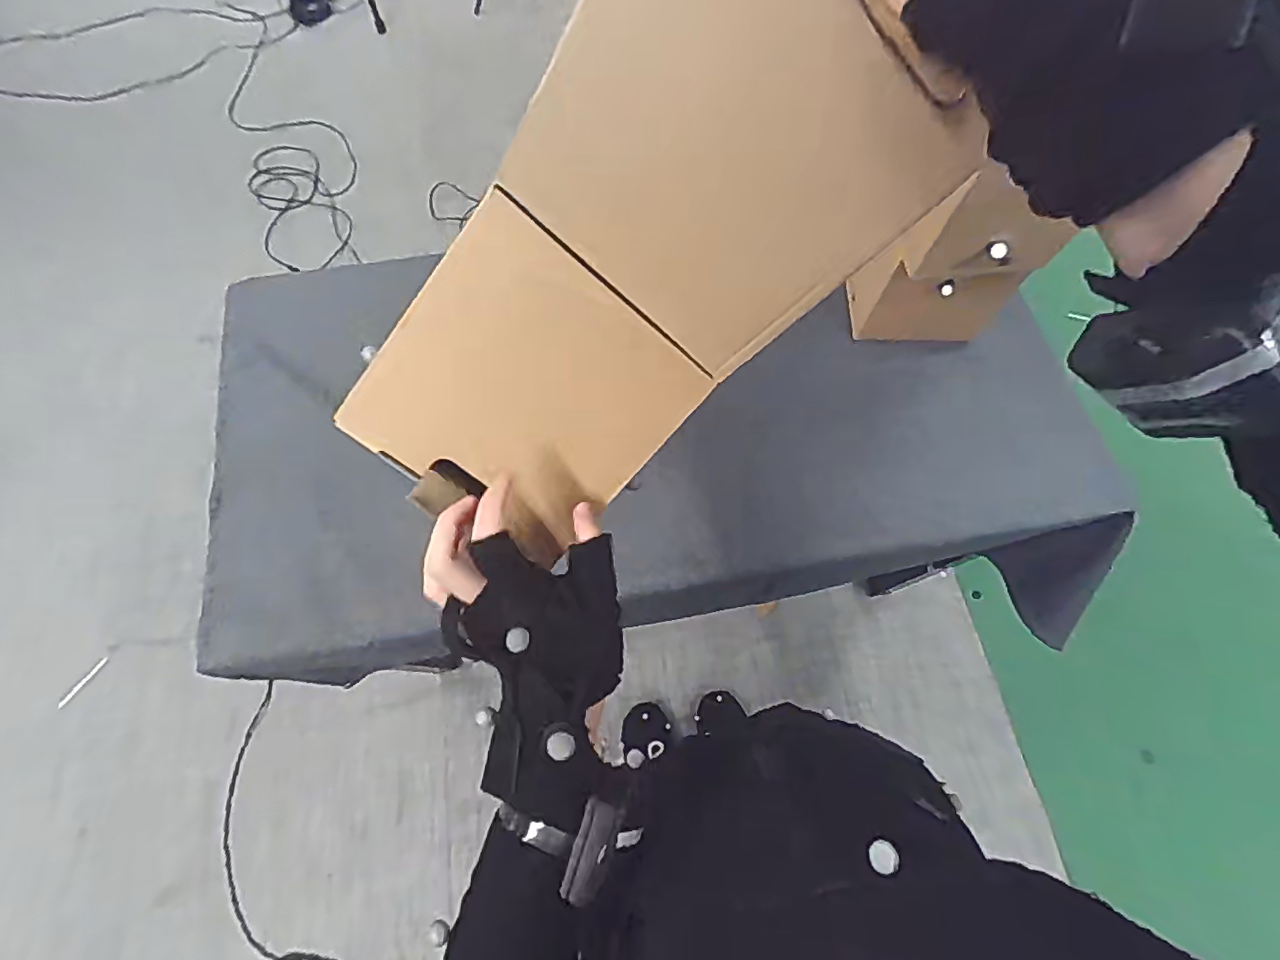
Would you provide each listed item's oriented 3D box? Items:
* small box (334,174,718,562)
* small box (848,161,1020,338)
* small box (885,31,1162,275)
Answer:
[{"bbox_3d":[-0.072,-0.082,0.397,0.168,0.176,0.179,39,106,-15],"label":"small box"},{"bbox_3d":[0.407,-0.317,0.763,0.179,0.176,0.168,2,70,1],"label":"small box"},{"bbox_3d":[0.398,-0.358,0.603,0.168,0.176,0.179,-4,70,0],"label":"small box"}]
